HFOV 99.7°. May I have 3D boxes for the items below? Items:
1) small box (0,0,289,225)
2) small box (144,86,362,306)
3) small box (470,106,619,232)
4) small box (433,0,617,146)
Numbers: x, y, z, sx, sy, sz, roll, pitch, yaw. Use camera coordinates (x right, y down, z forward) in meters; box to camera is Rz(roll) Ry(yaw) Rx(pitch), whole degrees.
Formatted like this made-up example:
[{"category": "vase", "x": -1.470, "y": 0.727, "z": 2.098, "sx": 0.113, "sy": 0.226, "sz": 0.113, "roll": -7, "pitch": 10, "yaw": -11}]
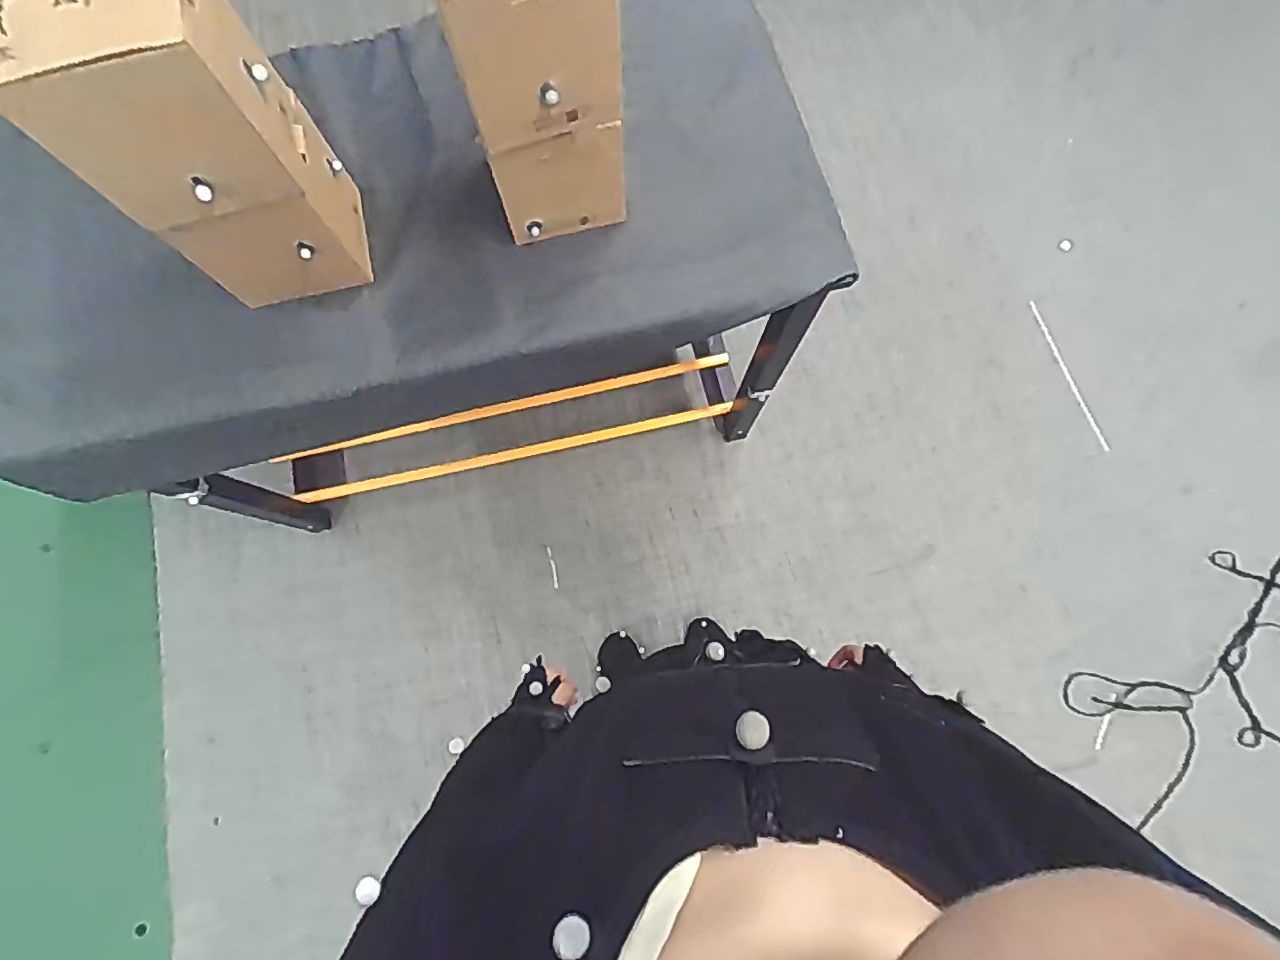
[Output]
[{"category": "small box", "x": -0.482, "y": -0.392, "z": 0.538, "sx": 0.179, "sy": 0.176, "sz": 0.168, "roll": -17, "pitch": 75, "yaw": -5}, {"category": "small box", "x": -0.484, "y": -0.355, "z": 0.699, "sx": 0.179, "sy": 0.176, "sz": 0.168, "roll": -15, "pitch": 75, "yaw": -3}, {"category": "small box", "x": -0.126, "y": -0.462, "z": 0.726, "sx": 0.168, "sy": 0.176, "sz": 0.179, "roll": -15, "pitch": 75, "yaw": -4}, {"category": "small box", "x": -0.129, "y": -0.501, "z": 0.566, "sx": 0.168, "sy": 0.176, "sz": 0.179, "roll": -20, "pitch": 76, "yaw": -4}]
